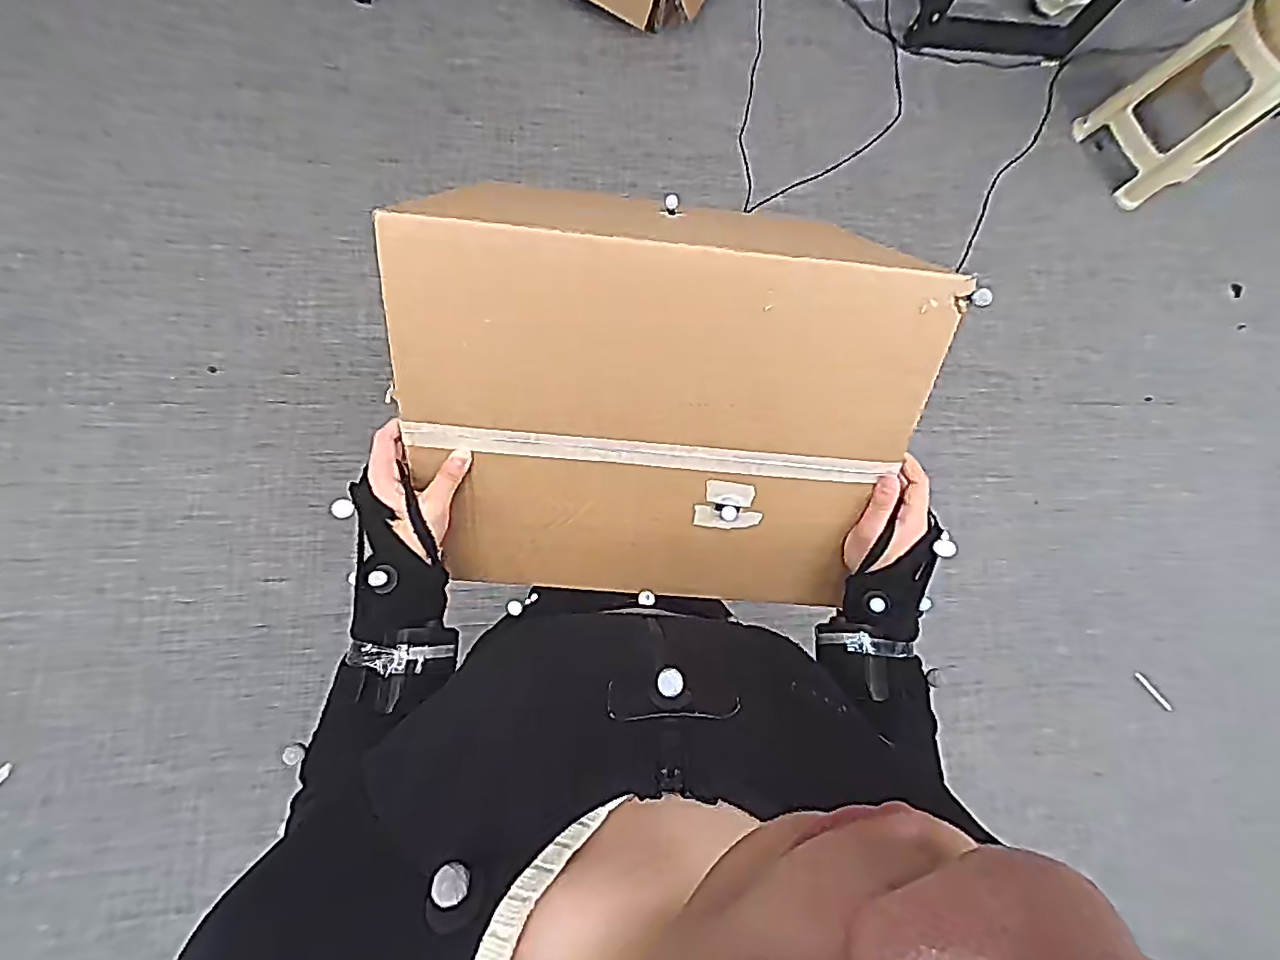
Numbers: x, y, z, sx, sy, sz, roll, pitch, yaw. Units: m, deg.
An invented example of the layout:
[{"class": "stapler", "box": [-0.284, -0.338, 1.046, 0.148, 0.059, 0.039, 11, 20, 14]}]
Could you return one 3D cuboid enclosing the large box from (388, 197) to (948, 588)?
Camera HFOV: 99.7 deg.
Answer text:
[{"class": "large box", "box": [0.008, -0.108, 0.579, 0.408, 0.320, 0.320, 4, 123, -5]}]
